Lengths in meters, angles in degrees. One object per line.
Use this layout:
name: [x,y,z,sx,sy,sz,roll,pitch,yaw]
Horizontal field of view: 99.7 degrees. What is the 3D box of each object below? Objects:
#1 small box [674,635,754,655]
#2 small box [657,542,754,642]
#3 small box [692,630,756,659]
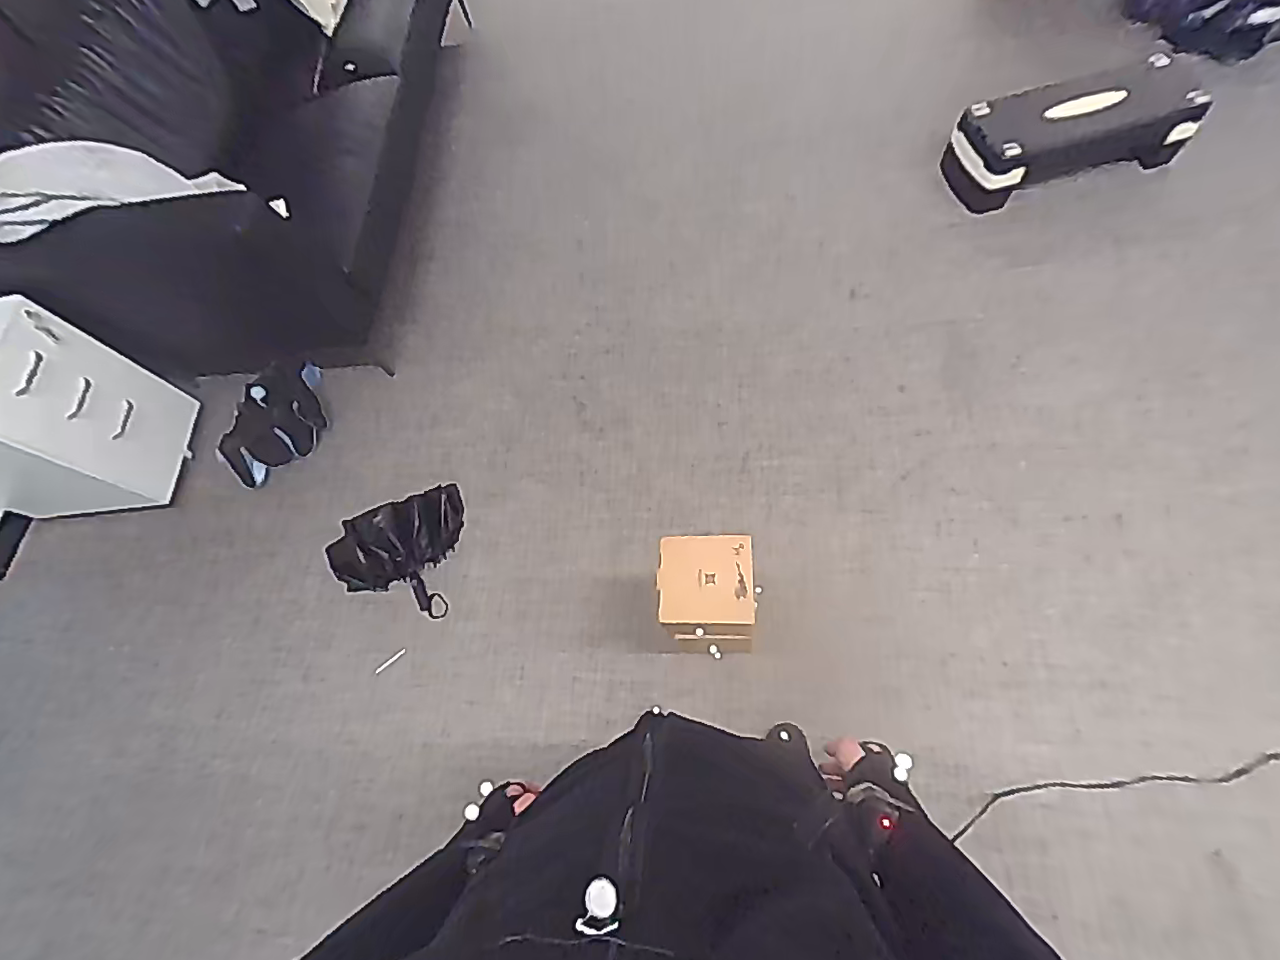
small box: [0.166,0.293,1.216,0.168,0.176,0.179,-4,66,9]
small box: [0.134,0.226,1.070,0.179,0.176,0.168,-2,67,10]
small box: [0.200,0.354,1.366,0.168,0.176,0.179,-5,67,9]
